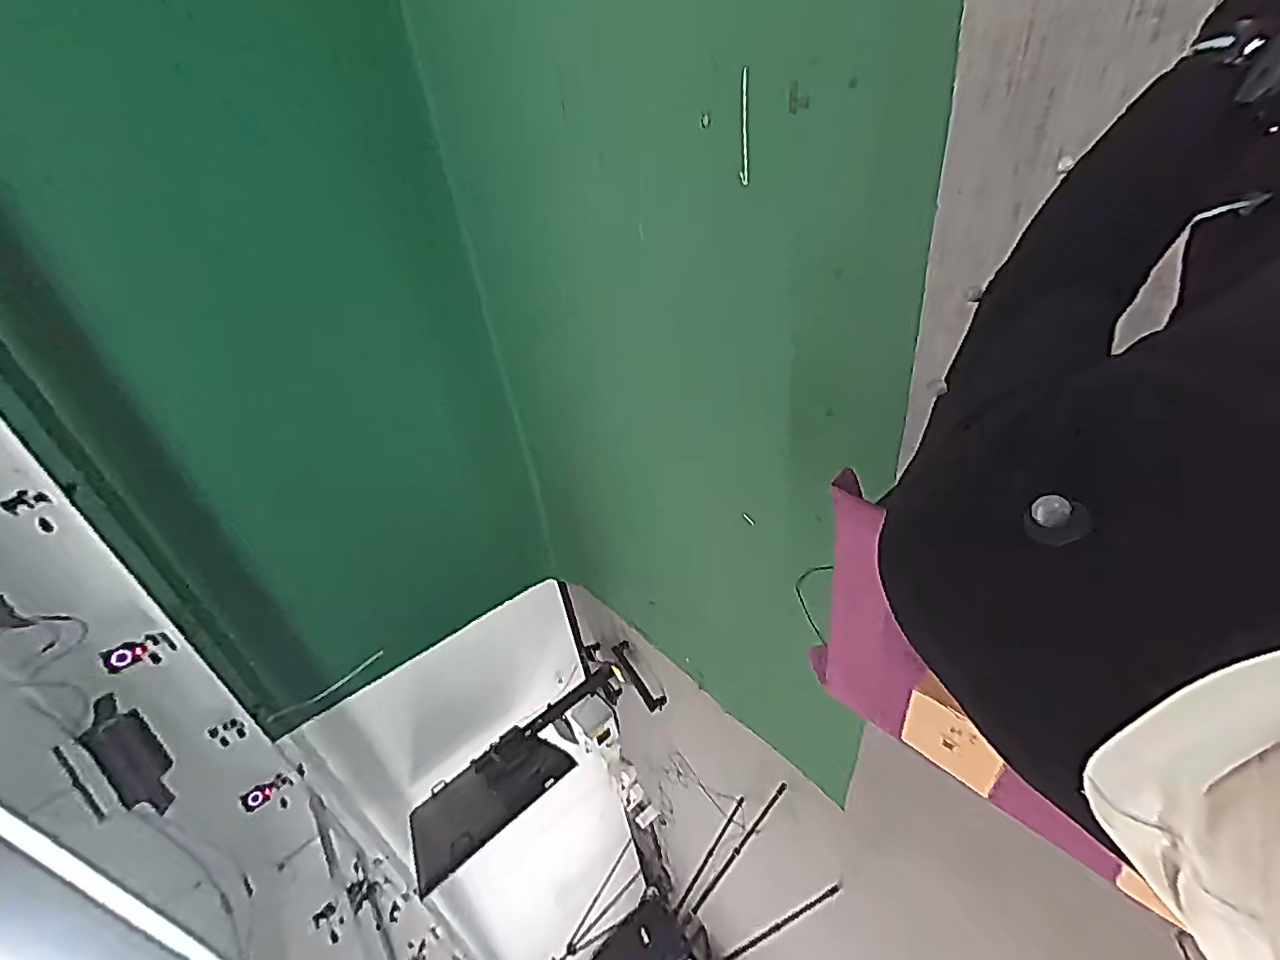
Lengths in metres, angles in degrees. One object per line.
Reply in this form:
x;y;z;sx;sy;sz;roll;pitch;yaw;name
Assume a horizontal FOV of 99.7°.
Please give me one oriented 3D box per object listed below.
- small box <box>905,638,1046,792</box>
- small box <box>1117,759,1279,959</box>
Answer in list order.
0.649;0.449;1.052;0.168;0.176;0.179;29;137;42;small box
0.868;0.556;0.806;0.179;0.176;0.168;23;134;48;small box
